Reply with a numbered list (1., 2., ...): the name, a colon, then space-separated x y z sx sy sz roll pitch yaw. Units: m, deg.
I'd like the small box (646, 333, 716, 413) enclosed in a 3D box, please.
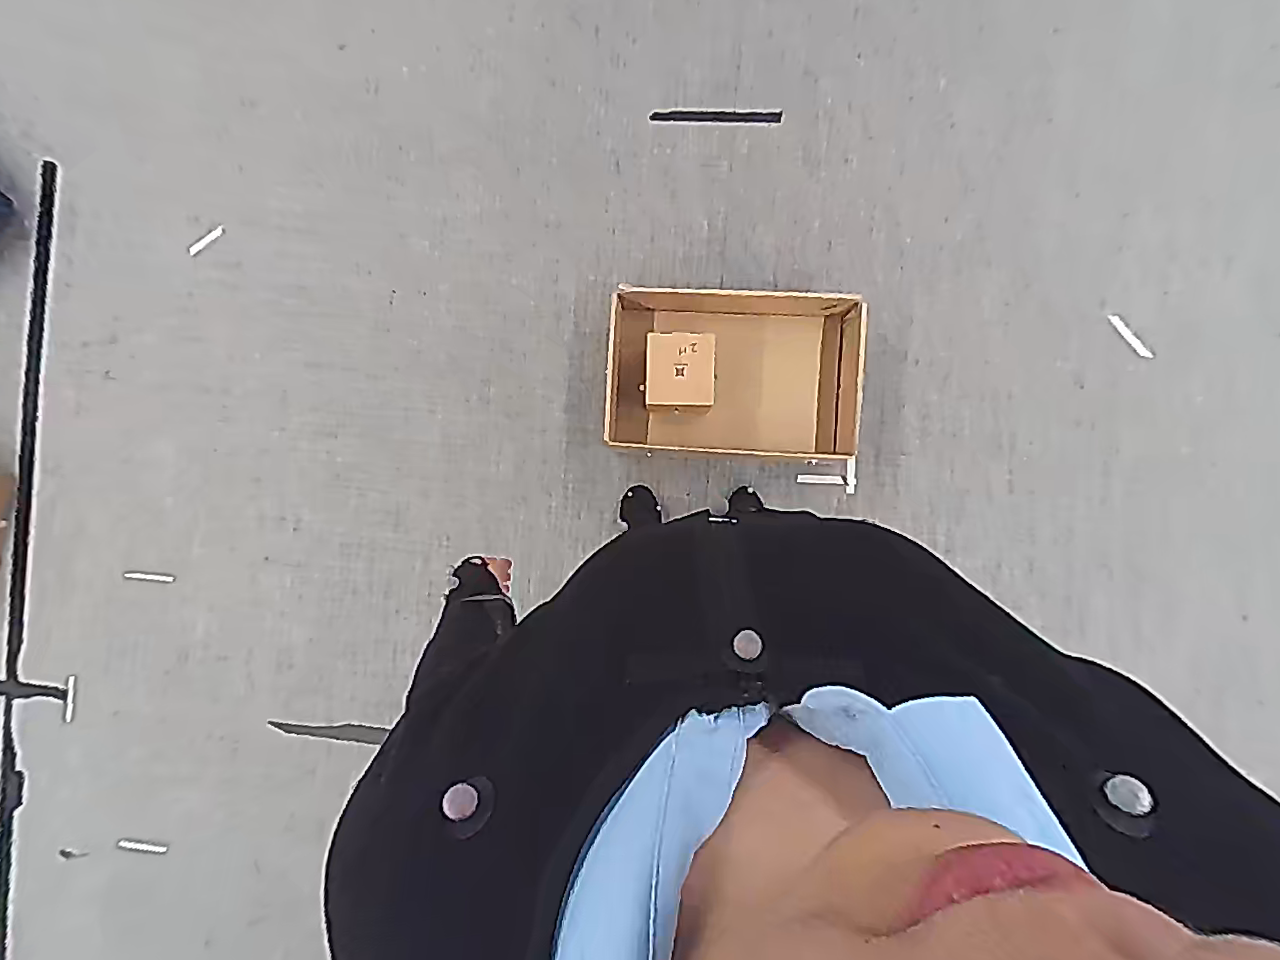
1. small box: 0.103 -0.265 1.378 0.168 0.176 0.179 2 90 3
